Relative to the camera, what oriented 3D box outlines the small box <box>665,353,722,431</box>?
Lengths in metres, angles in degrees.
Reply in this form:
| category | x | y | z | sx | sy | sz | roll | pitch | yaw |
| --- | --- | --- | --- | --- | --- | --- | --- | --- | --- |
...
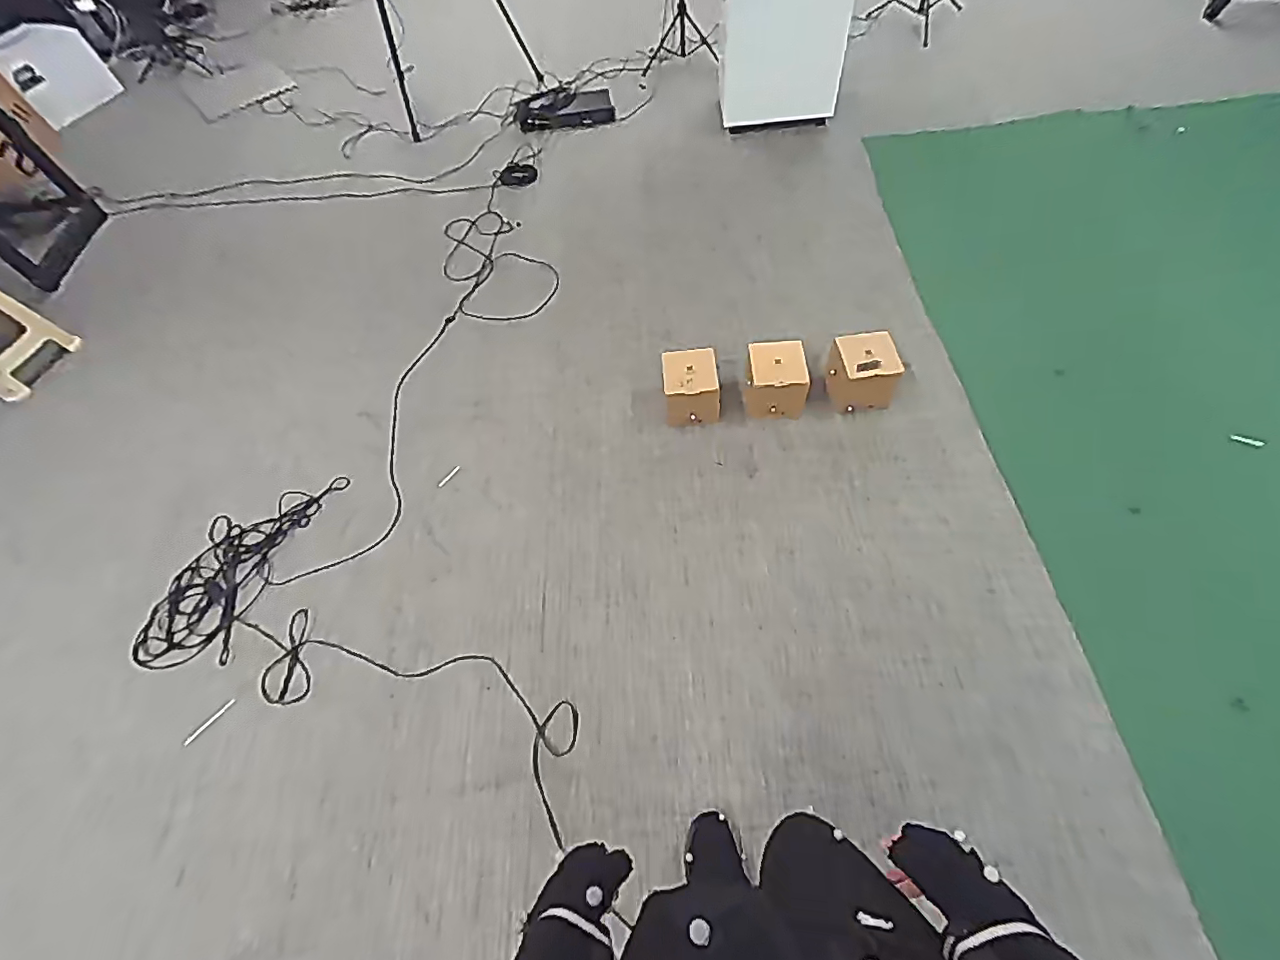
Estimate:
| category | x | y | z | sx | sy | sz | roll | pitch | yaw |
| --- | --- | --- | --- | --- | --- | --- | --- | --- | --- |
| small box | 0.168 | -0.279 | 1.731 | 0.168 | 0.176 | 0.179 | -5 | 59 | 4 |

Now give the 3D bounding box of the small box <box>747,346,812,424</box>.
| category | x | y | z | sx | sy | sz | roll | pitch | yaw |
| --- | --- | --- | --- | --- | --- | --- | --- | --- | --- |
| small box | 0.435 | -0.299 | 1.717 | 0.168 | 0.176 | 0.179 | -3 | 59 | 4 |

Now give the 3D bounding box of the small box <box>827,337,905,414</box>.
| category | x | y | z | sx | sy | sz | roll | pitch | yaw |
| --- | --- | --- | --- | --- | --- | --- | --- | --- | --- |
| small box | 0.703 | -0.320 | 1.699 | 0.168 | 0.176 | 0.179 | -6 | 58 | 3 |
